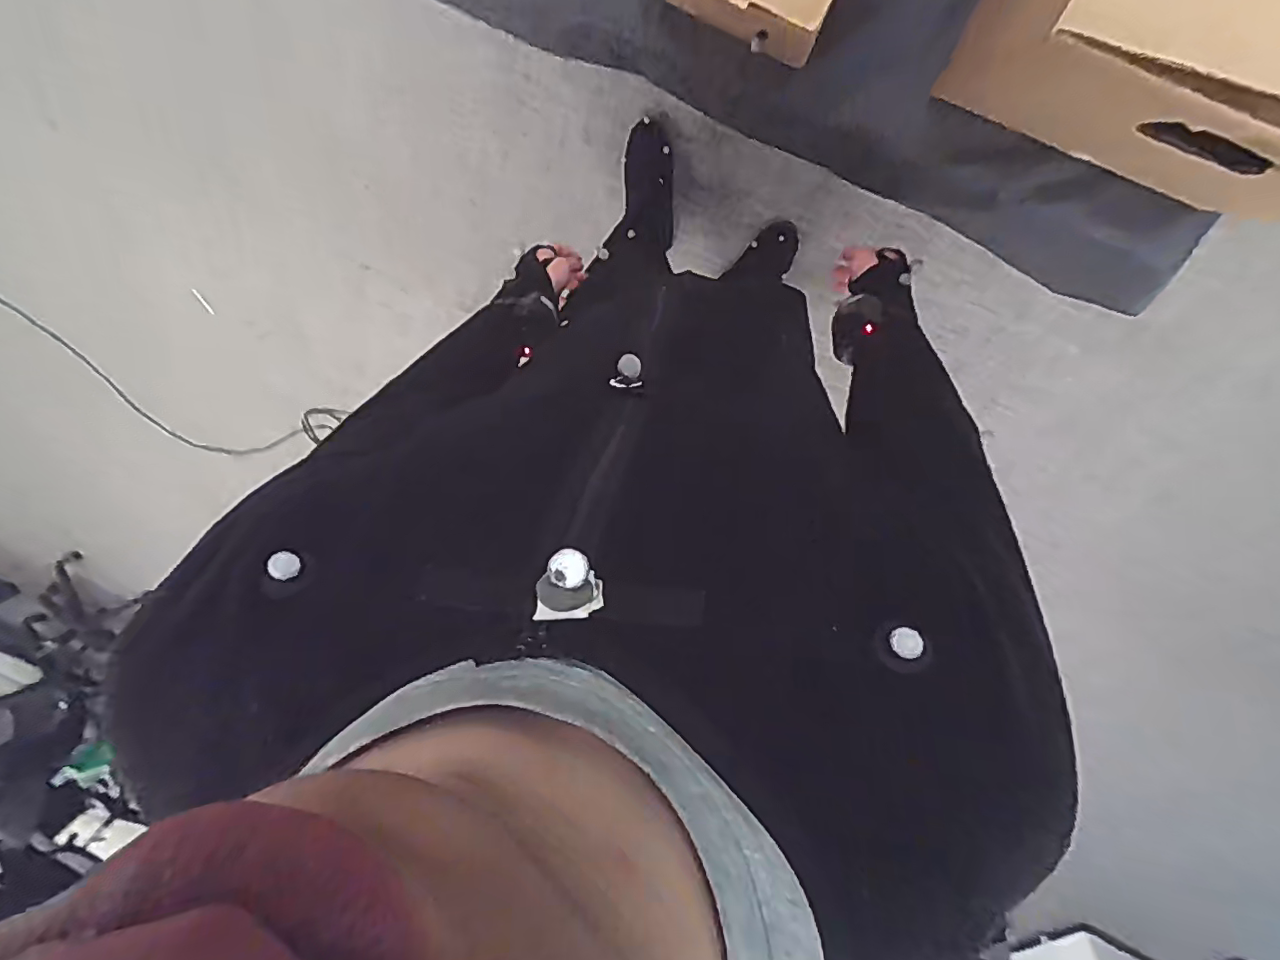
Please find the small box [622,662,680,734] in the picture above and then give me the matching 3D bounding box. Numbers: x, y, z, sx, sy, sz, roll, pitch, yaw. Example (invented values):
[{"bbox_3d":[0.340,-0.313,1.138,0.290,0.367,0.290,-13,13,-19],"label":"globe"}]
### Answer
[{"bbox_3d":[0.049,0.854,2.134,0.168,0.176,0.179,27,122,-4],"label":"small box"}]
